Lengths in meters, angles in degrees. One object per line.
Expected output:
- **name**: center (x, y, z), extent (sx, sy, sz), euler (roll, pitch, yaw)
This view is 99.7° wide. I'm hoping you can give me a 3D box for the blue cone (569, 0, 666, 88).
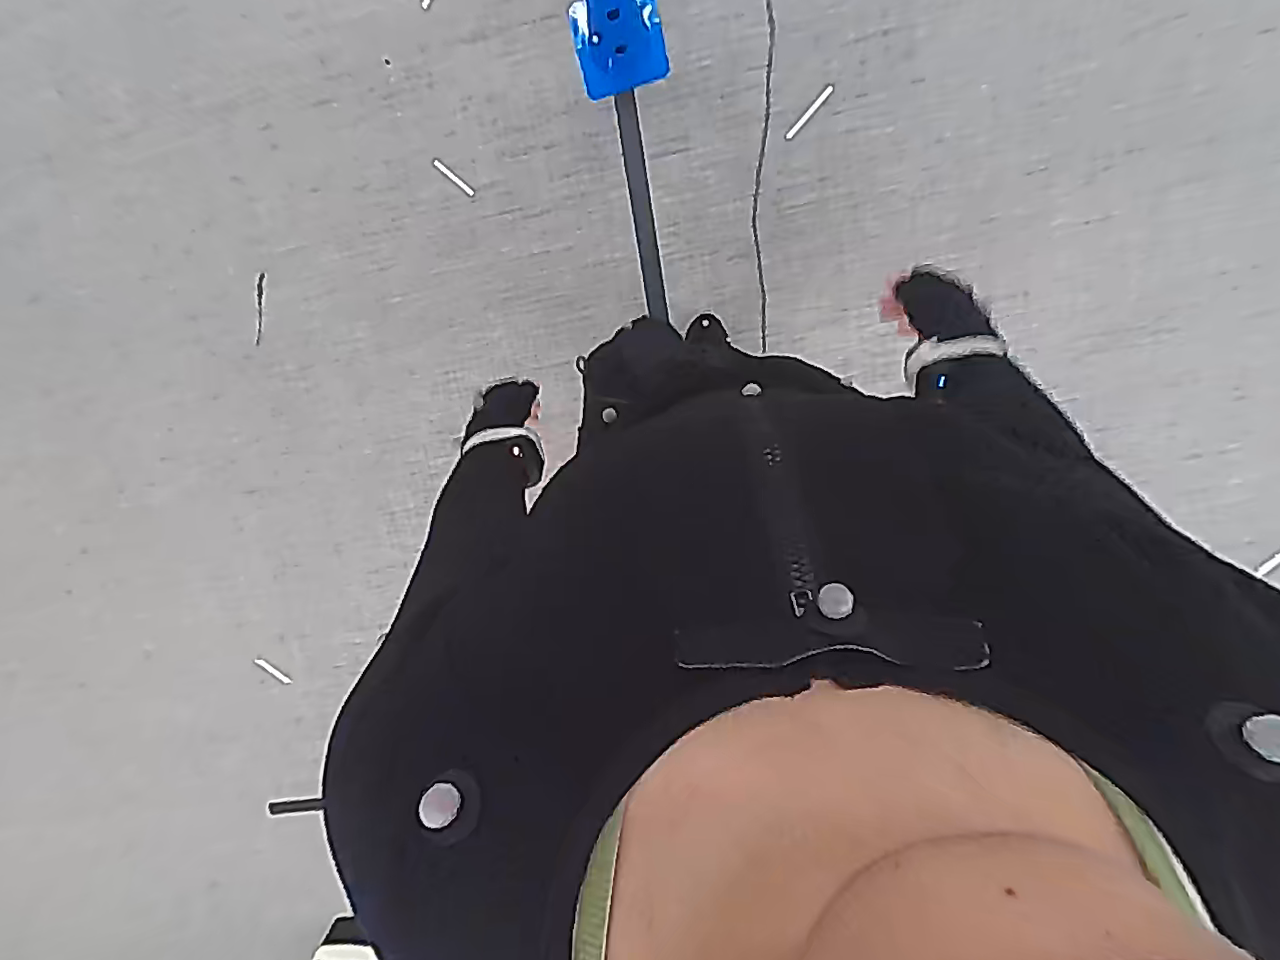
- **blue cone**: center (-0.068, -0.959, 1.049), extent (0.192, 0.380, 0.193), euler (-14, 102, 8)
